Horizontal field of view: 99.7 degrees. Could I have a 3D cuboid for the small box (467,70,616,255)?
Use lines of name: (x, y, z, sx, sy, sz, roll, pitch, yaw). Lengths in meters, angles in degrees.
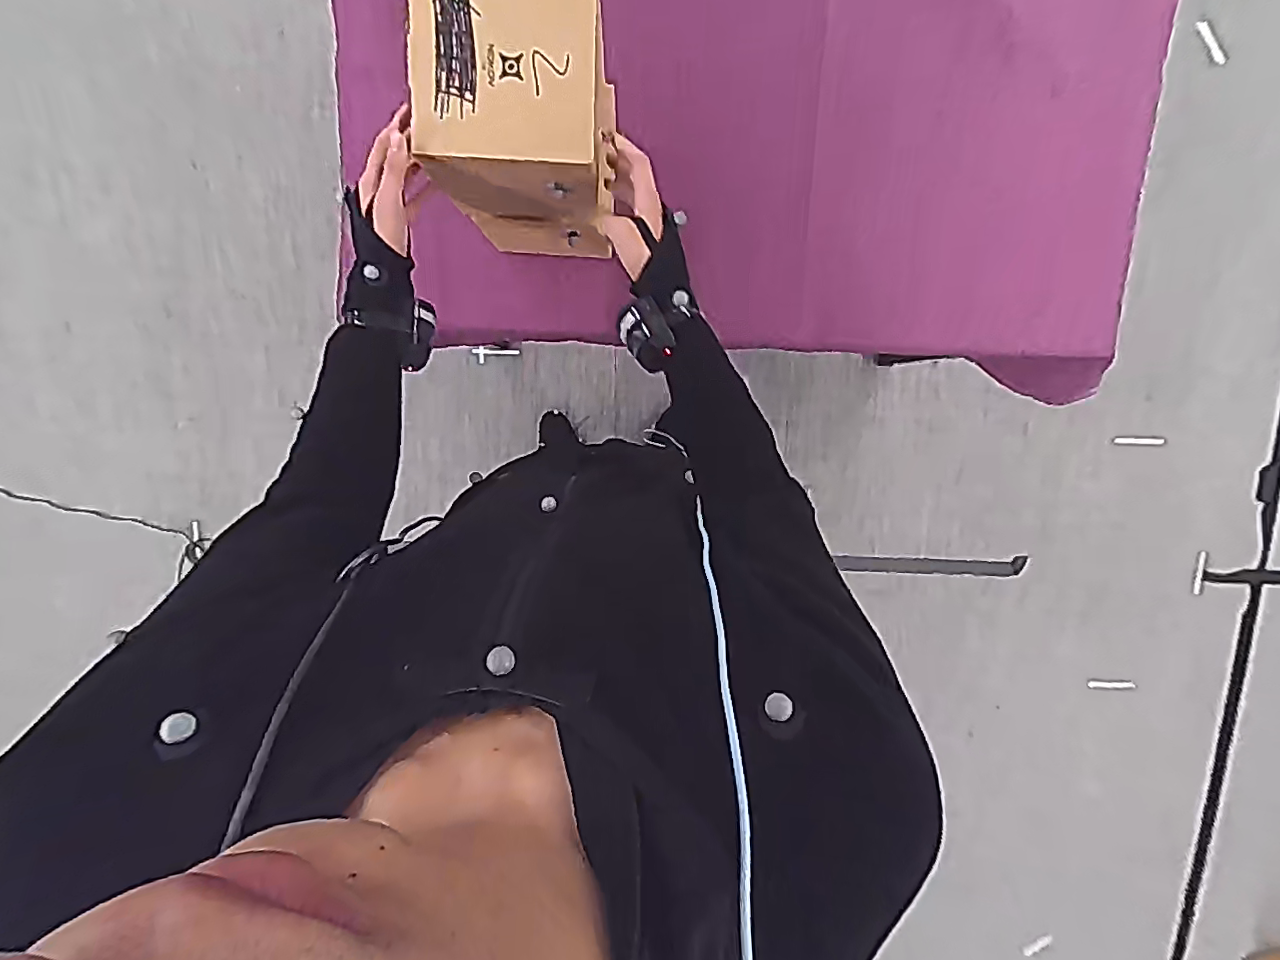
small box: (-0.125, -0.415, 0.739, 0.179, 0.176, 0.168, 4, 99, -2)
